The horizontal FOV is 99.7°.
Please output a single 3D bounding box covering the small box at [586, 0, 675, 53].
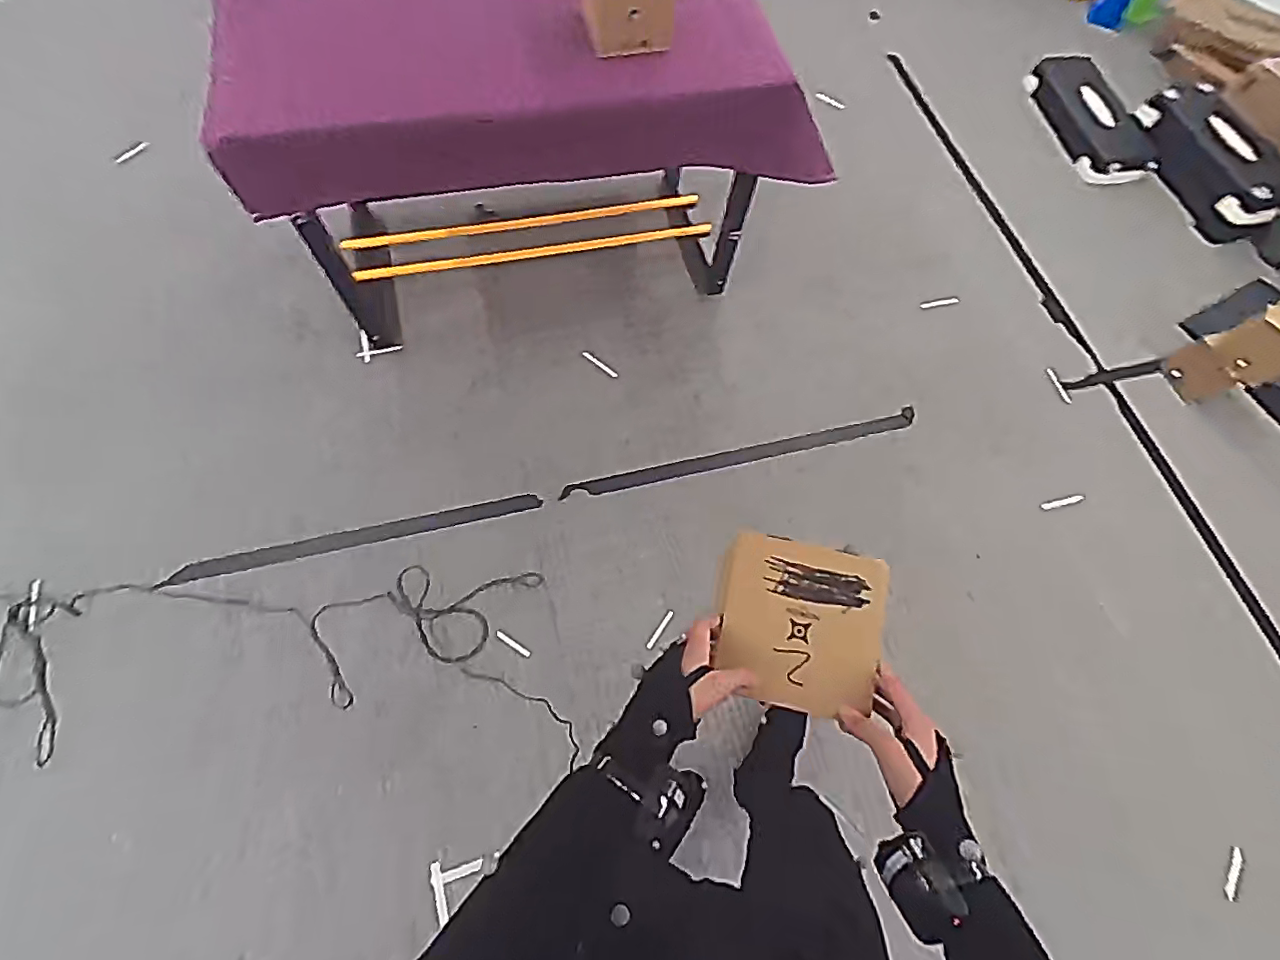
[{"bbox_3d":[-0.022,-1.061,1.167,0.168,0.176,0.179,-12,71,-9],"label":"small box"}]
